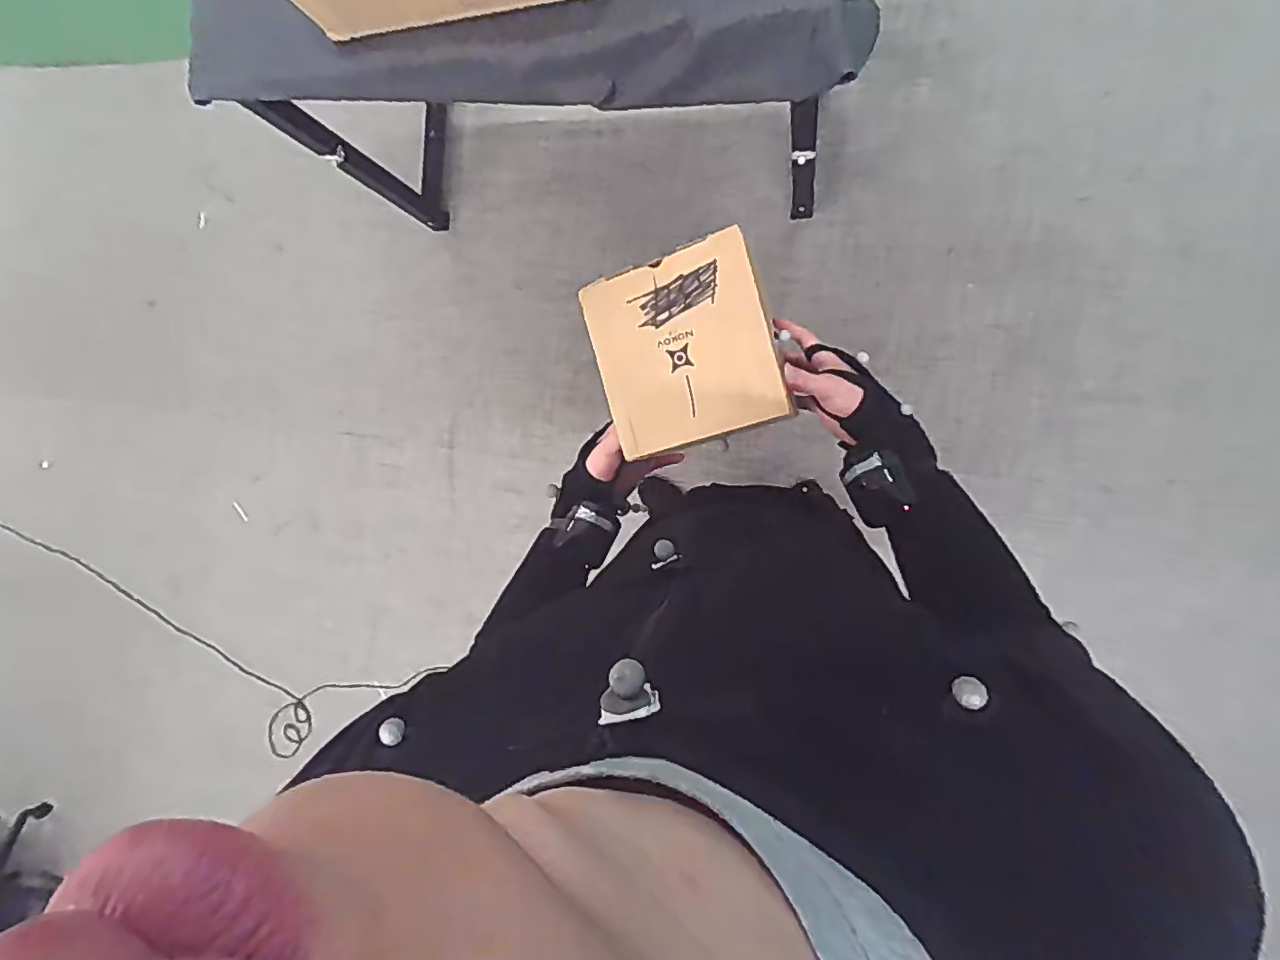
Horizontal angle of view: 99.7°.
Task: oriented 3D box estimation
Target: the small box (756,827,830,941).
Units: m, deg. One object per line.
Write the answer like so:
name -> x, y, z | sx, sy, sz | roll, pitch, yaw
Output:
small box -> 0.404, 1.058, 1.432 | 0.168, 0.176, 0.179 | -8, 91, 18
